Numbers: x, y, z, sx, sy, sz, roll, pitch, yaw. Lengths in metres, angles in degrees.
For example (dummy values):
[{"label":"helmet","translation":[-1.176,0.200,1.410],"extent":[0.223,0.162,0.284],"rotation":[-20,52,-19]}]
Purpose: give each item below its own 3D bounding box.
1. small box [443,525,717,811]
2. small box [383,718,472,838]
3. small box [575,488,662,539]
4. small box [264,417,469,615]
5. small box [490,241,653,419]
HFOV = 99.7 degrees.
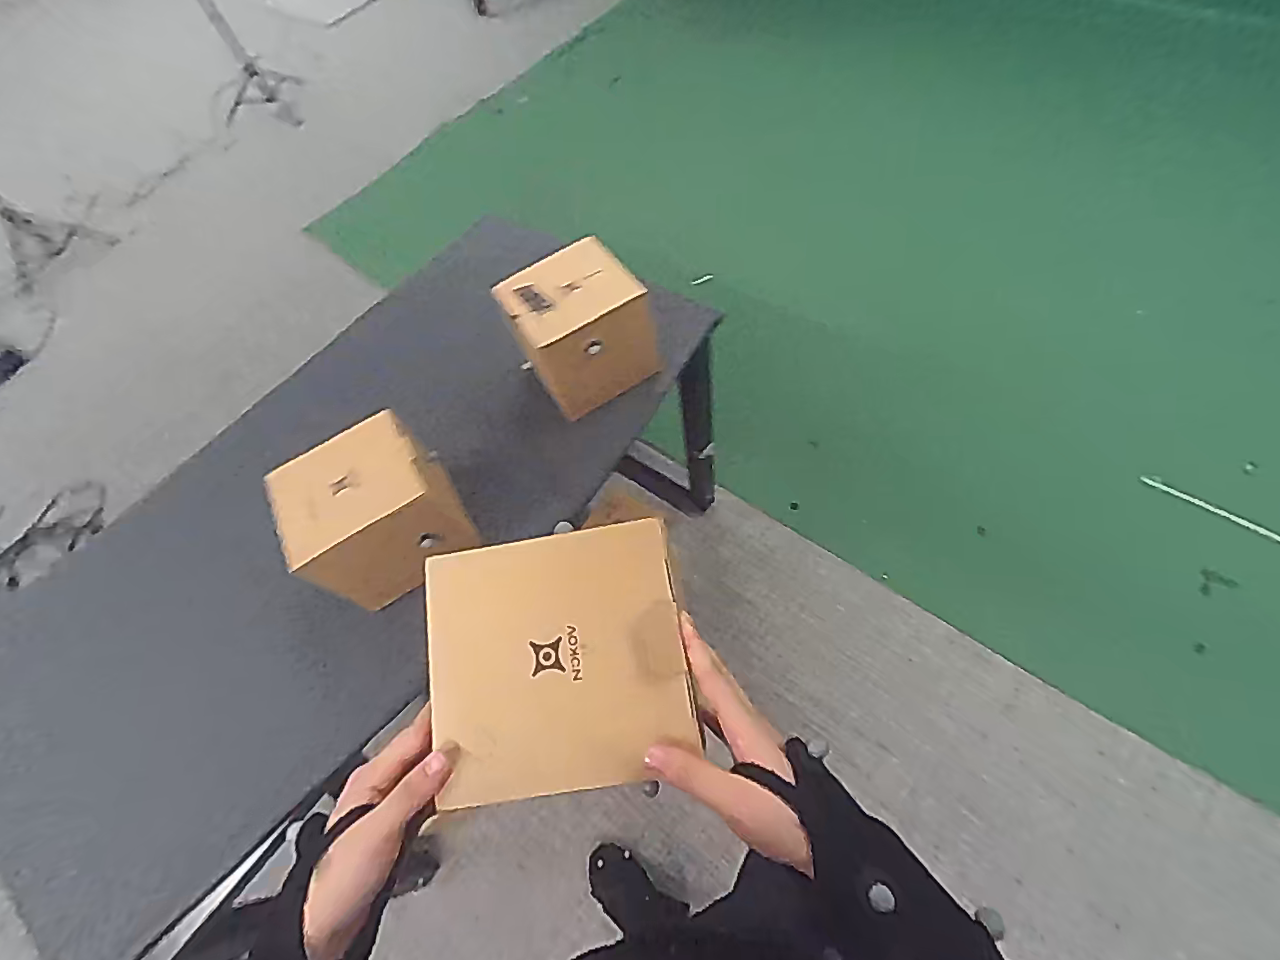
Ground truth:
[{"label":"small box","translation":[-0.038,0.144,0.436],"extent":[0.179,0.176,0.168],"rotation":[-10,72,3]},{"label":"small box","translation":[-0.443,0.681,1.246],"extent":[0.179,0.176,0.168],"rotation":[-40,64,-12]},{"label":"small box","translation":[-0.046,0.156,1.469],"extent":[0.179,0.176,0.168],"rotation":[26,68,20]},{"label":"small box","translation":[-0.357,0.054,0.737],"extent":[0.179,0.176,0.168],"rotation":[-34,59,-8]},{"label":"small box","translation":[-0.098,-0.227,0.845],"extent":[0.179,0.176,0.168],"rotation":[-32,60,-8]}]
